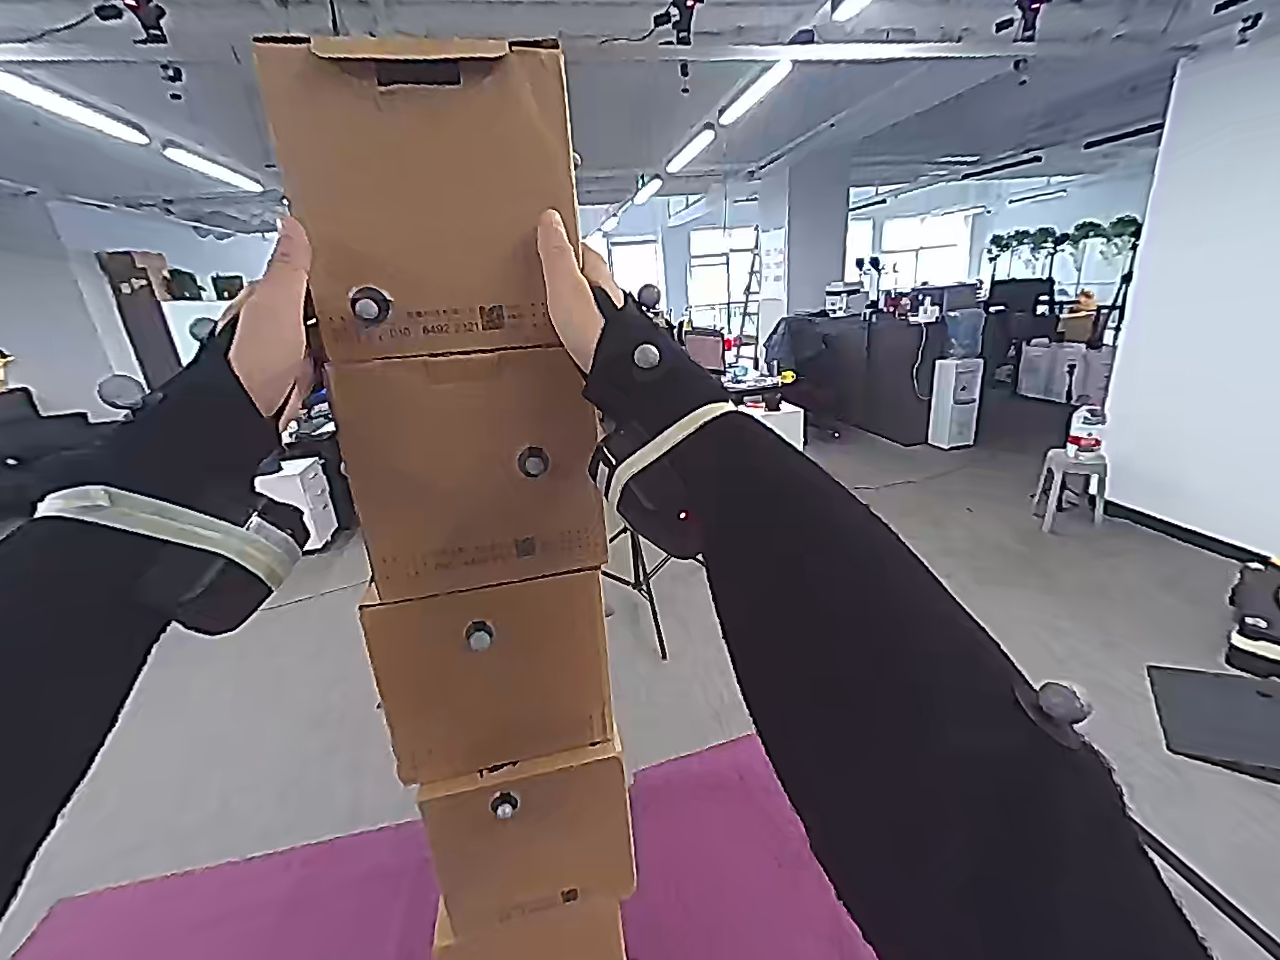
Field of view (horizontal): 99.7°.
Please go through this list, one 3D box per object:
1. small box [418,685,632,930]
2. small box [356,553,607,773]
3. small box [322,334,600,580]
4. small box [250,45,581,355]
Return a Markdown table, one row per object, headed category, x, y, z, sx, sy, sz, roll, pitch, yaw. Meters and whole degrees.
| category | x | y | z | sx | sy | sz | roll | pitch | yaw |
| --- | --- | --- | --- | --- | --- | --- | --- | --- | --- |
| small box | -0.107 | 0.284 | 0.538 | 0.168 | 0.176 | 0.179 | -8 | 19 | -10 |
| small box | -0.128 | 0.128 | 0.495 | 0.179 | 0.176 | 0.168 | -8 | 19 | -11 |
| small box | -0.131 | -0.028 | 0.447 | 0.168 | 0.176 | 0.179 | -8 | 18 | -13 |
| small box | -0.140 | -0.186 | 0.402 | 0.168 | 0.176 | 0.179 | -7 | 18 | -11 |
